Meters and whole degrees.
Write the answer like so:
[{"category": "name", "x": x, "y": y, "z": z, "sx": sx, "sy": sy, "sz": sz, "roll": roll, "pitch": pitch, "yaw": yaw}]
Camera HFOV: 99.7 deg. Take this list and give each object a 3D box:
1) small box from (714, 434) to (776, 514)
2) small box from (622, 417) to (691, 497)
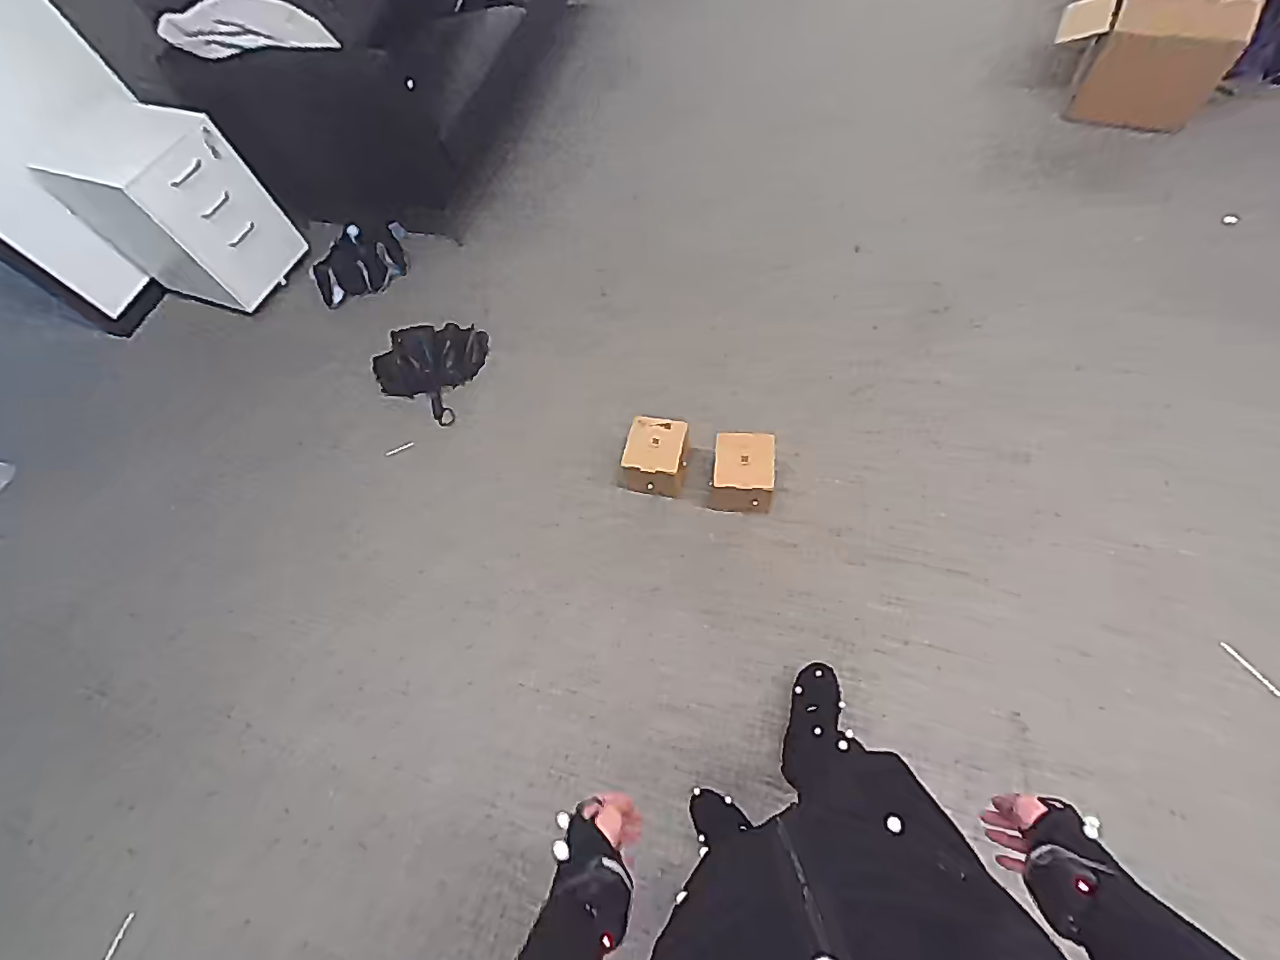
[{"category": "small box", "x": 0.303, "y": -0.013, "z": 1.568, "sx": 0.168, "sy": 0.176, "sz": 0.179, "roll": 3, "pitch": 62, "yaw": 8}, {"category": "small box", "x": 0.058, "y": -0.065, "z": 1.628, "sx": 0.168, "sy": 0.176, "sz": 0.179, "roll": 10, "pitch": 65, "yaw": 13}]
